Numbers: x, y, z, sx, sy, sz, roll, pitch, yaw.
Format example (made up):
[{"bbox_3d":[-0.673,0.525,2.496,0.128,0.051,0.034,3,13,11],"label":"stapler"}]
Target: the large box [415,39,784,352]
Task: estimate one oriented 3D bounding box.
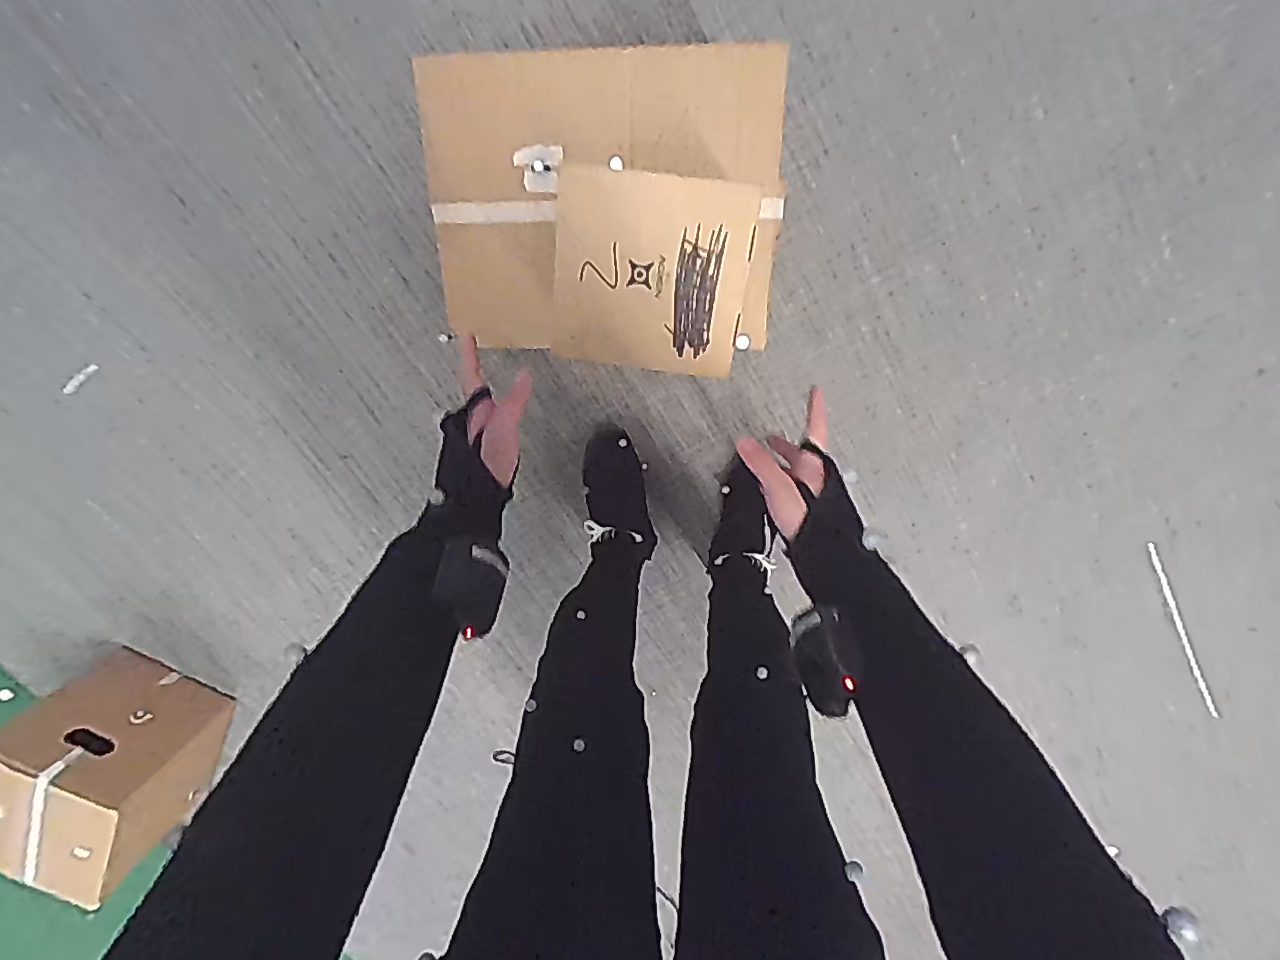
[{"bbox_3d":[-0.030,-0.361,0.757,0.408,0.320,0.320,2,111,6],"label":"large box"}]
